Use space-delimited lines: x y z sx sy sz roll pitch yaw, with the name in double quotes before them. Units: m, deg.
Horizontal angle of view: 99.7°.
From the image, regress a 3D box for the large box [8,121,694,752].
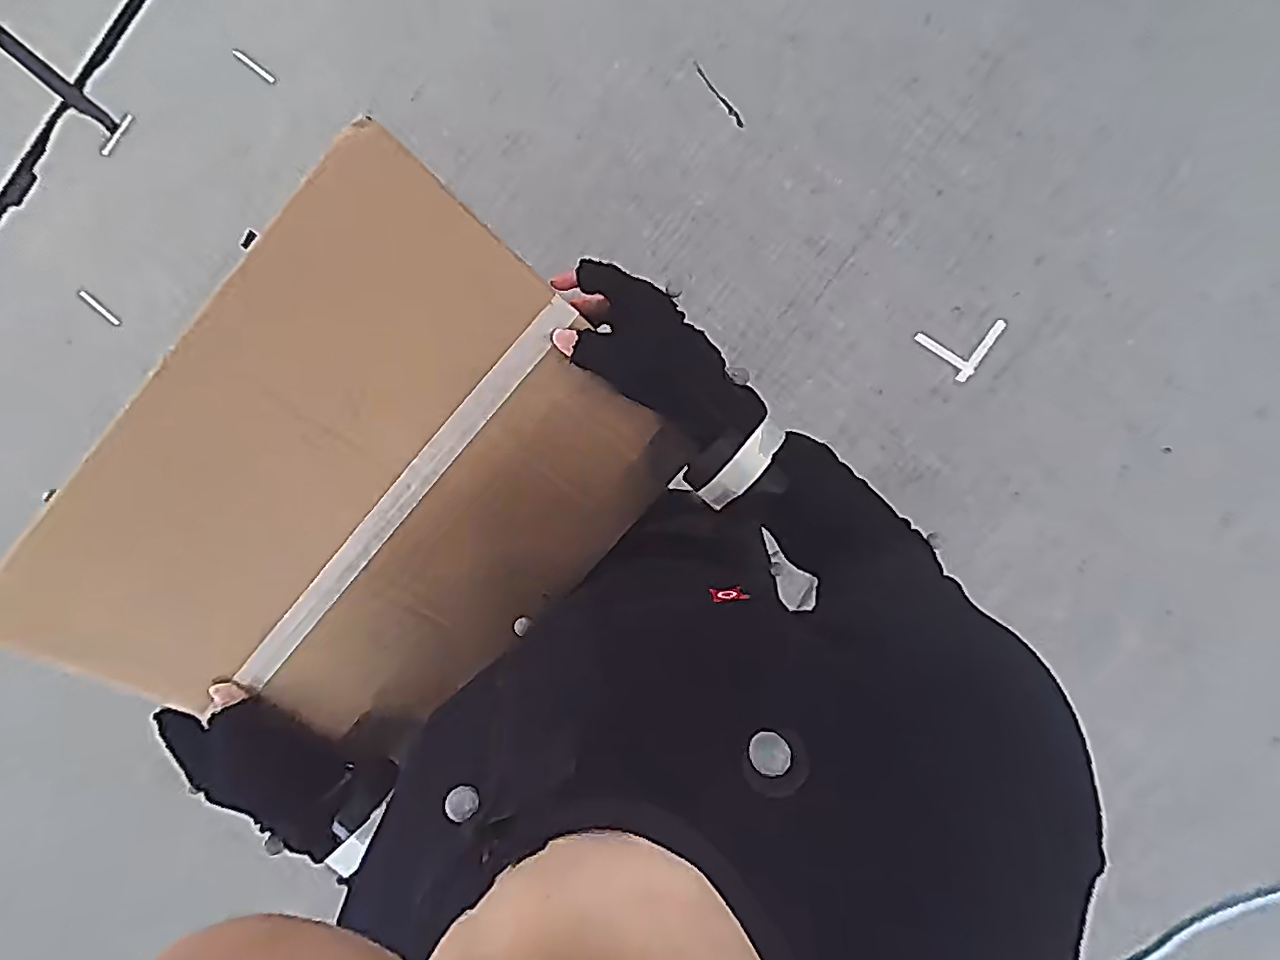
"large box" -0.229 -0.035 0.536 0.320 0.320 0.408 39 96 -28
